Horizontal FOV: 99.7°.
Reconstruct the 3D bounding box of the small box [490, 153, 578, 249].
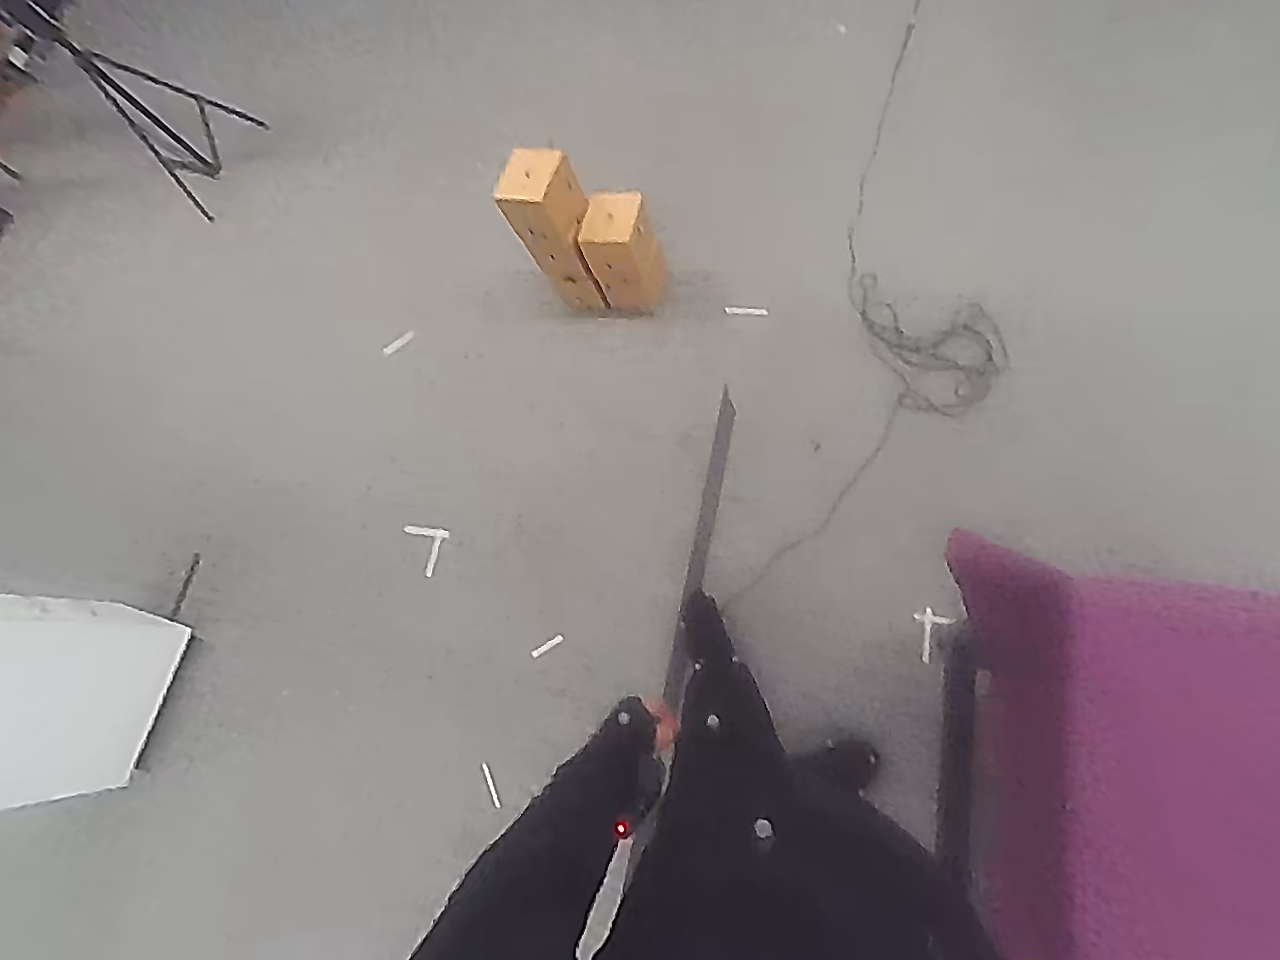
[{"bbox_3d":[-0.298,-0.807,1.568,0.168,0.176,0.179,15,76,21],"label":"small box"}]
